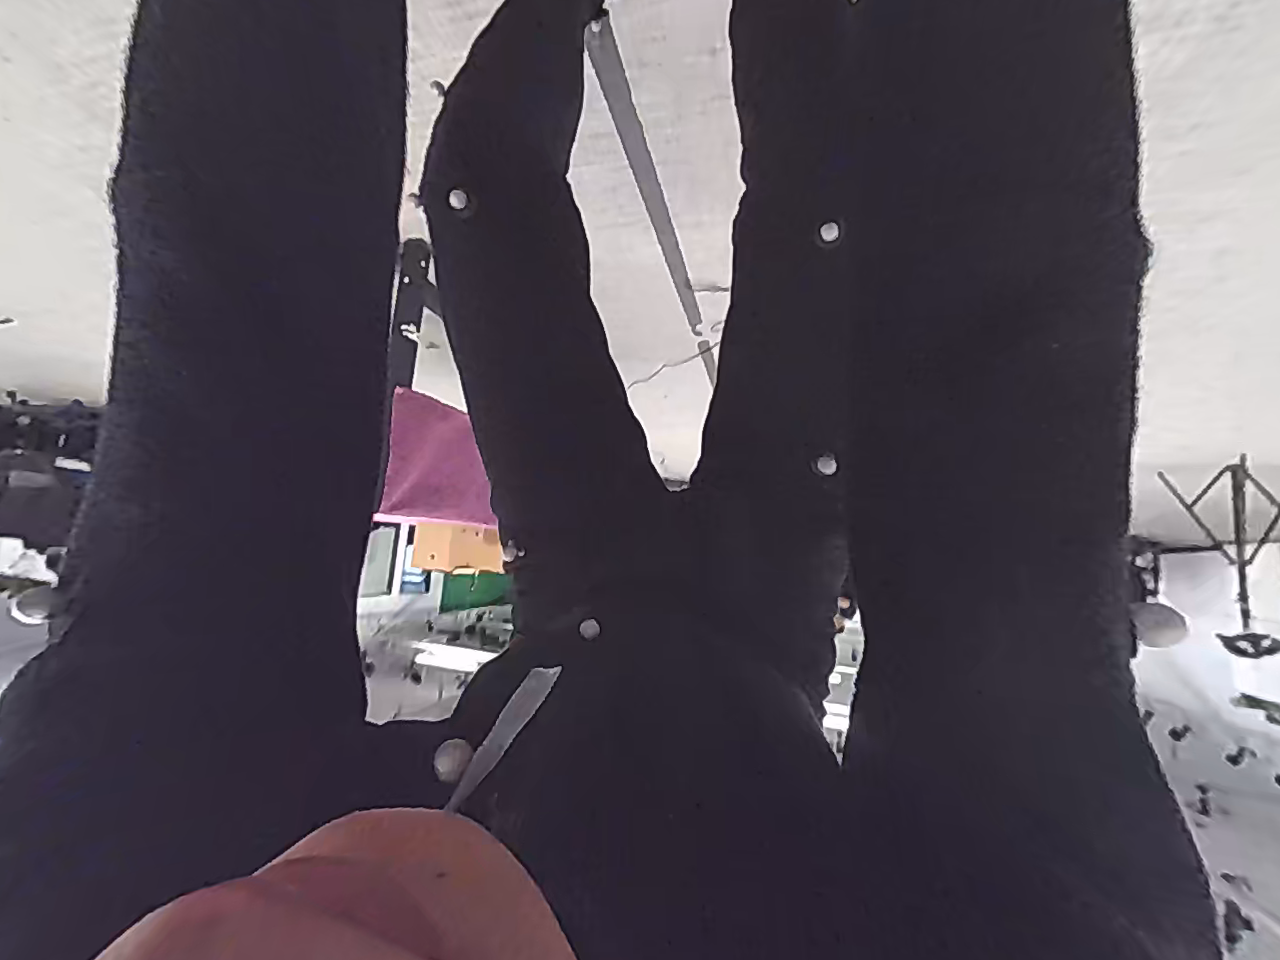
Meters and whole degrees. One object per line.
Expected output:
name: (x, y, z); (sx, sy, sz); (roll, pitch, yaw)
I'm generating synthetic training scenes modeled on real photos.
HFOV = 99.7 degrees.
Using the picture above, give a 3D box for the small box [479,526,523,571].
small box: (-0.603, 0.280, 2.225); (0.179, 0.176, 0.168); (1, 172, 24)

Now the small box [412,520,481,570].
small box: (-0.695, 0.235, 1.962); (0.179, 0.176, 0.168); (2, 172, 25)
